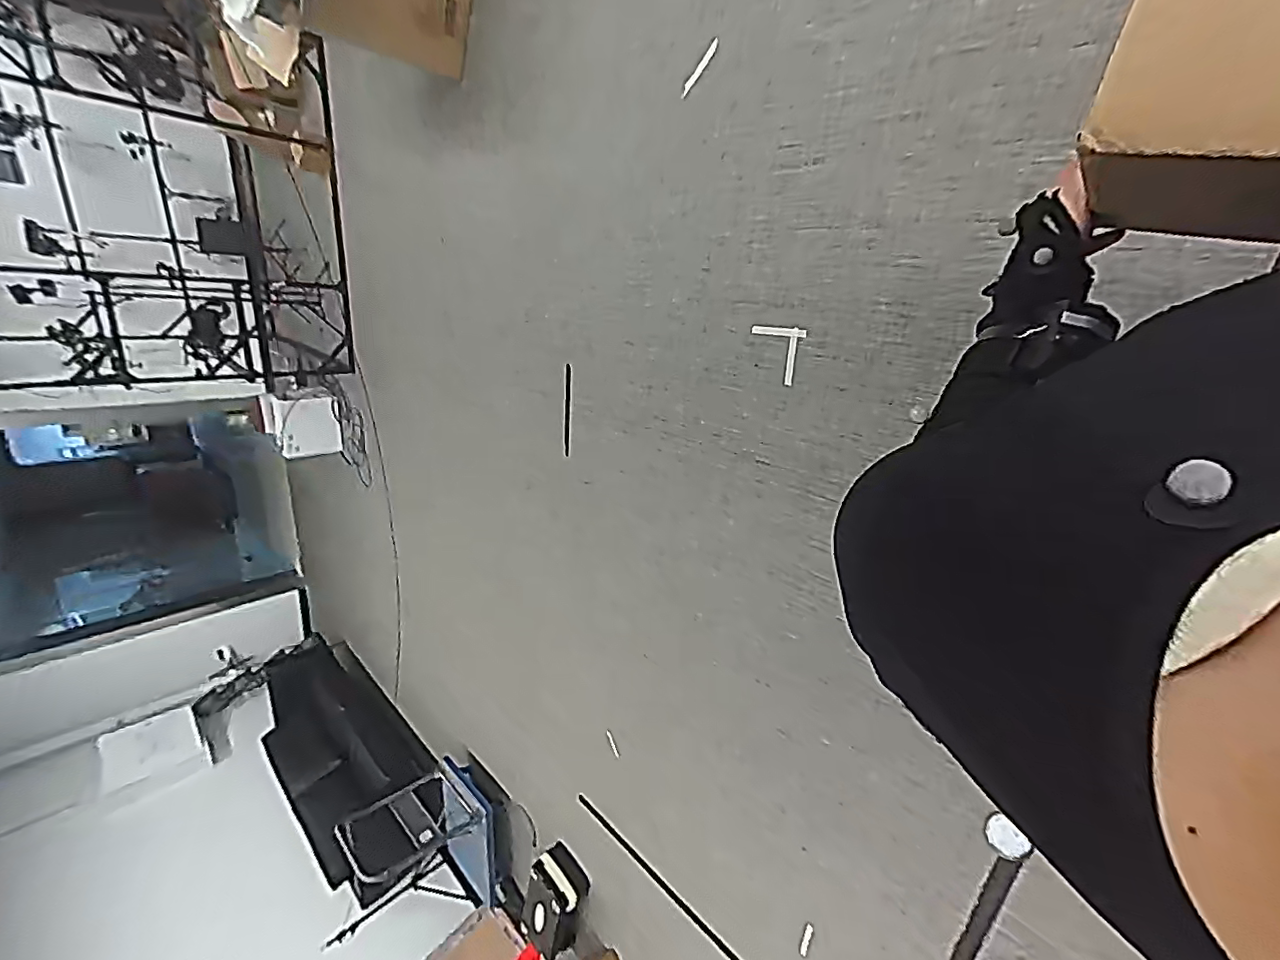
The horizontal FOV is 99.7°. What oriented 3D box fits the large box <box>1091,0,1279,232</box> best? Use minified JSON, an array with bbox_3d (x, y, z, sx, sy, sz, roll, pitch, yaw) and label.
[{"bbox_3d":[0.478,-0.272,0.206,0.408,0.320,0.320,24,119,32],"label":"large box"}]
